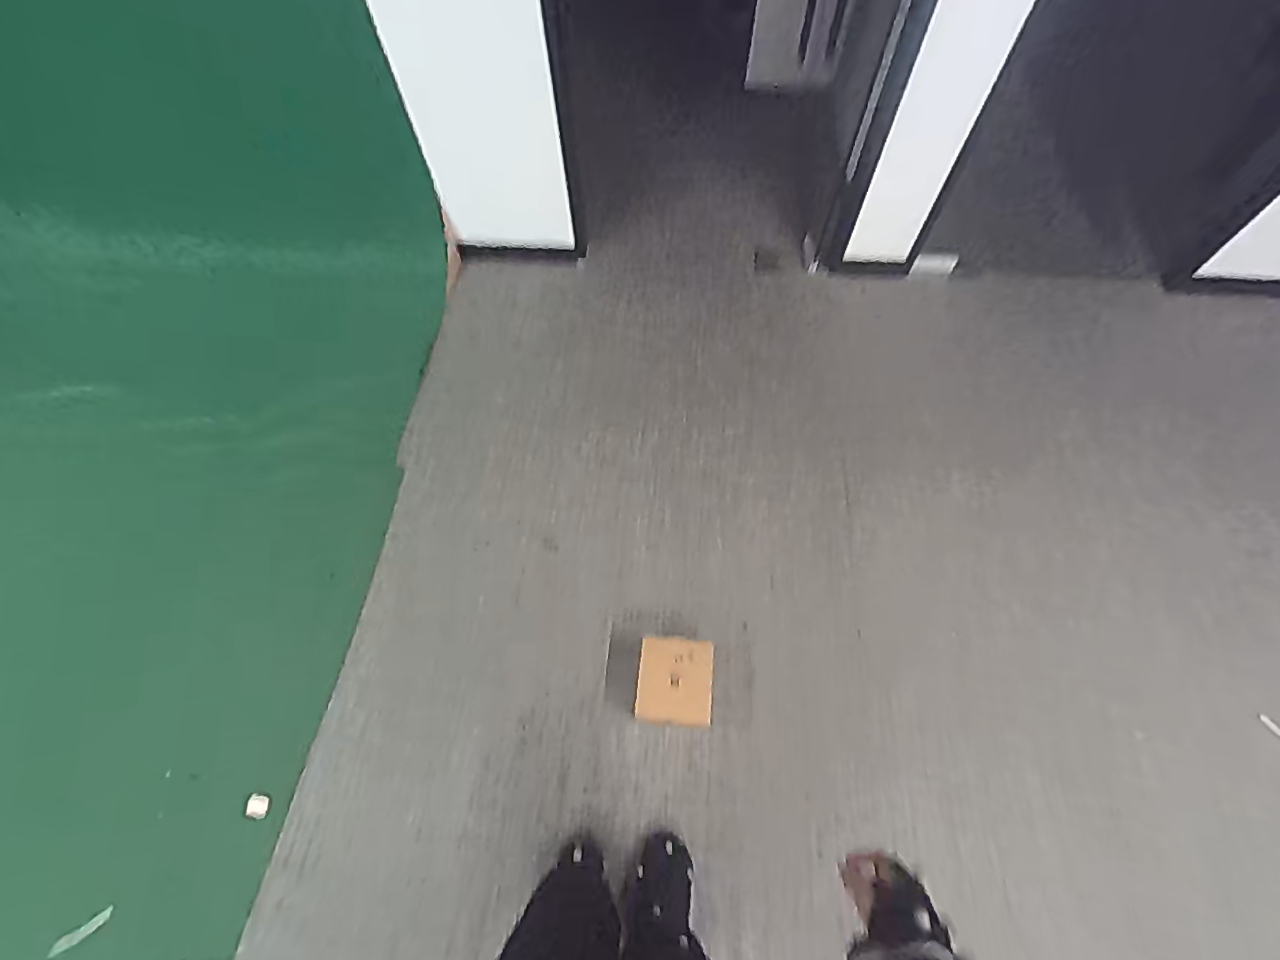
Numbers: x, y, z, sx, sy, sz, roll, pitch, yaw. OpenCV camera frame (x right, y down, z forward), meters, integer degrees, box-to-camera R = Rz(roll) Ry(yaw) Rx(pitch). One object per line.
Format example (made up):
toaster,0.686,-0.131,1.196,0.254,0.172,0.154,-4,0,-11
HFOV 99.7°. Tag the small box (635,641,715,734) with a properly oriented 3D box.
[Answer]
small box,0.082,0.489,1.266,0.168,0.176,0.179,6,63,4
